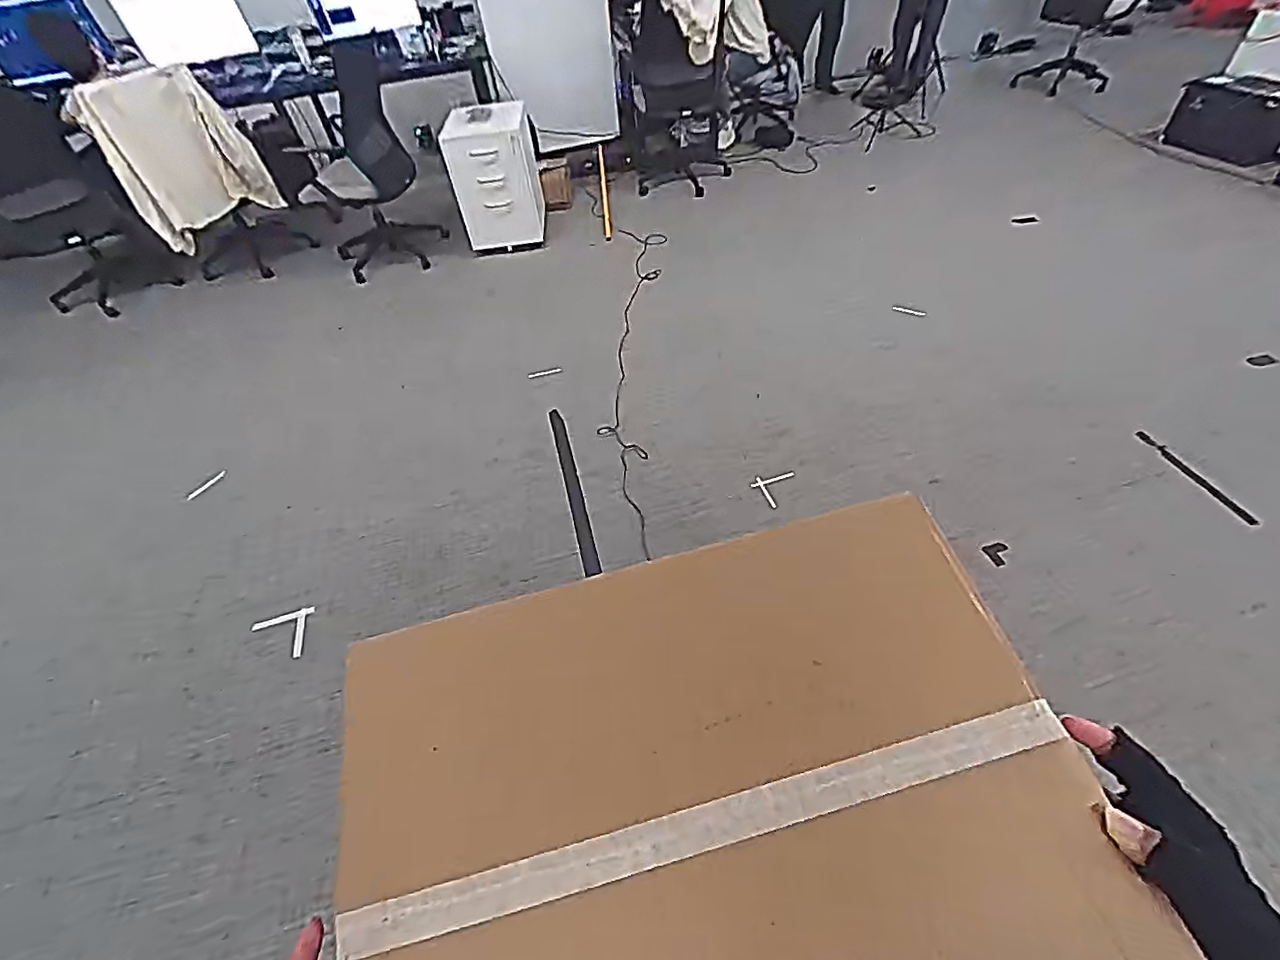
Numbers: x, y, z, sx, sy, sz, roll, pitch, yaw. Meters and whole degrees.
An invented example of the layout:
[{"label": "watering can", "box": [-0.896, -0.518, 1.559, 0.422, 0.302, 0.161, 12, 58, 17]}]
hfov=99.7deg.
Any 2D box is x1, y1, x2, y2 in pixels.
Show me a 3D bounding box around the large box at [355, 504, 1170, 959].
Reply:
[{"label": "large box", "box": [0.051, 0.269, 0.433, 0.408, 0.320, 0.320, -15, 58, -3]}]
